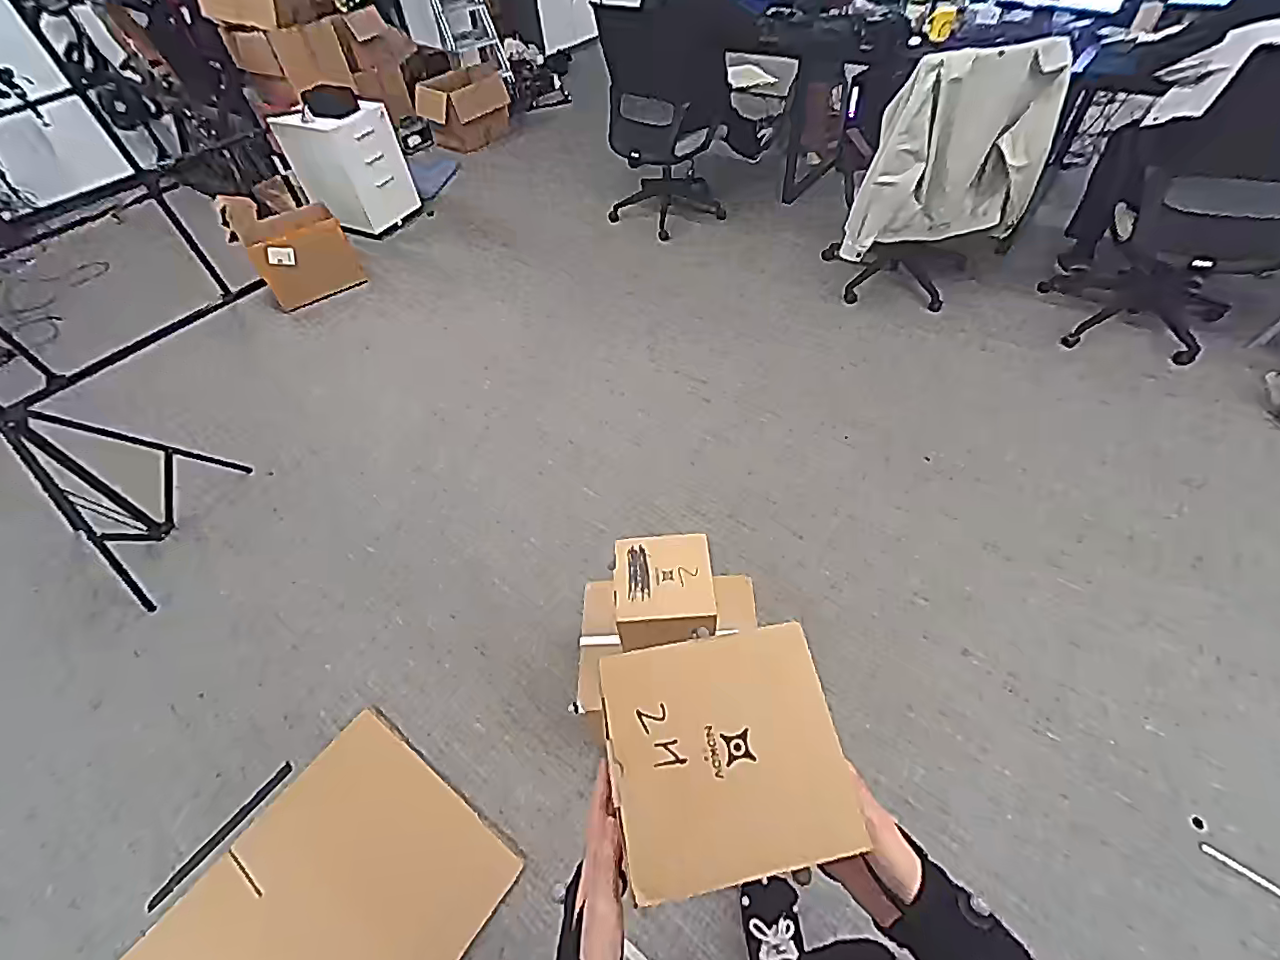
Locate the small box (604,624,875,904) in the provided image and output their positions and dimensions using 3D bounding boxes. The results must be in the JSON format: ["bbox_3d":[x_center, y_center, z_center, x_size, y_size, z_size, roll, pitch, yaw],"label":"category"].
[{"bbox_3d":[0.065,0.238,0.476,0.179,0.176,0.168,-8,62,-7],"label":"small box"}]

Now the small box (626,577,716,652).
[{"bbox_3d":[0.066,0.324,1.148,0.179,0.176,0.168,-4,52,1],"label":"small box"}]
